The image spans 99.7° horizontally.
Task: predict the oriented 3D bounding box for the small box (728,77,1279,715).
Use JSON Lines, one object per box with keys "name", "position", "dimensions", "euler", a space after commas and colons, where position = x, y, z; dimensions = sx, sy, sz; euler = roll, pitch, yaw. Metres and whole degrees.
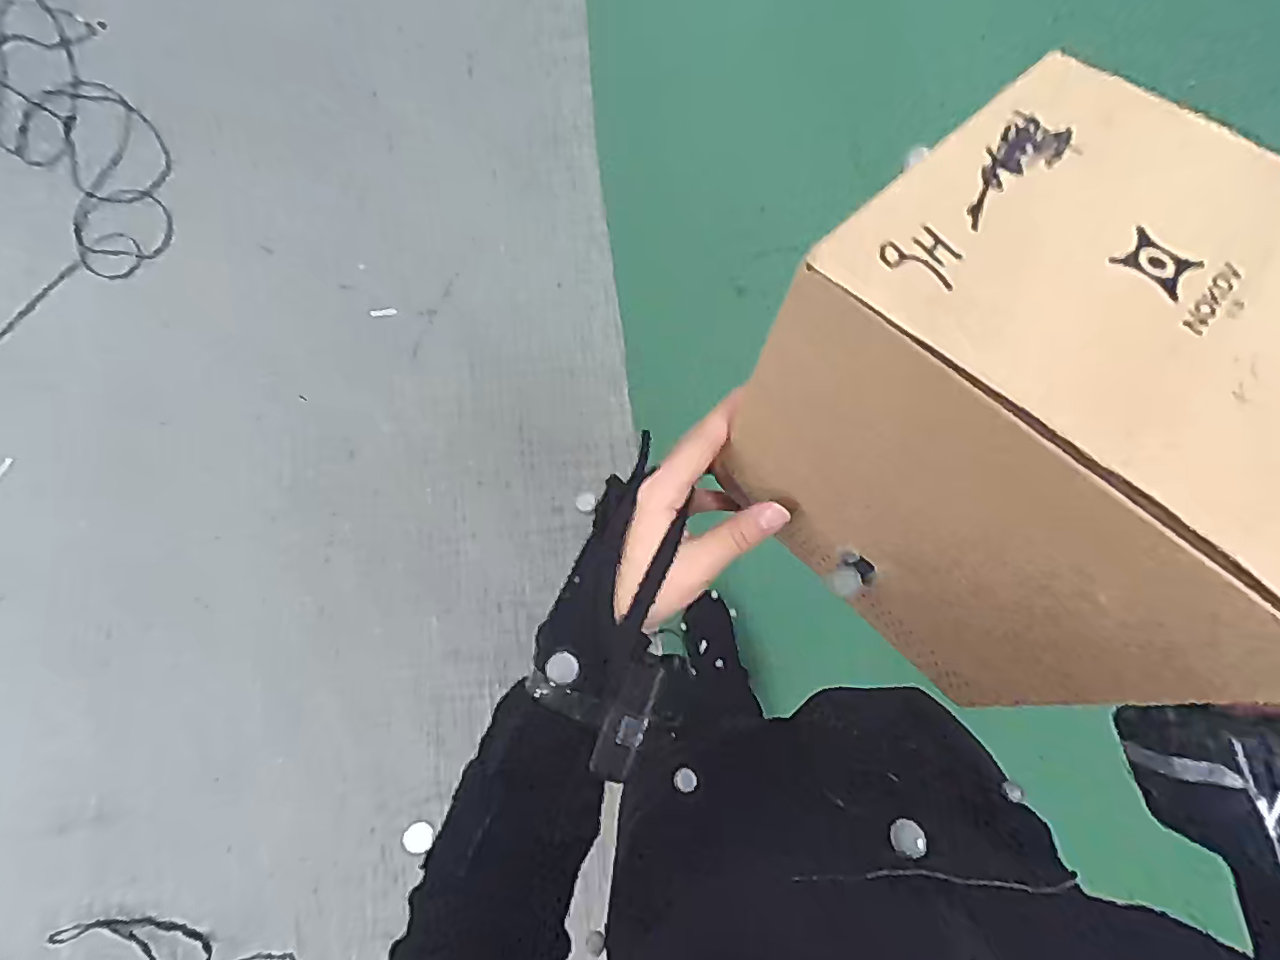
{"name": "small box", "position": [0.166, -0.022, 0.245], "dimensions": [0.168, 0.176, 0.179], "euler": [-39, 73, -18]}
